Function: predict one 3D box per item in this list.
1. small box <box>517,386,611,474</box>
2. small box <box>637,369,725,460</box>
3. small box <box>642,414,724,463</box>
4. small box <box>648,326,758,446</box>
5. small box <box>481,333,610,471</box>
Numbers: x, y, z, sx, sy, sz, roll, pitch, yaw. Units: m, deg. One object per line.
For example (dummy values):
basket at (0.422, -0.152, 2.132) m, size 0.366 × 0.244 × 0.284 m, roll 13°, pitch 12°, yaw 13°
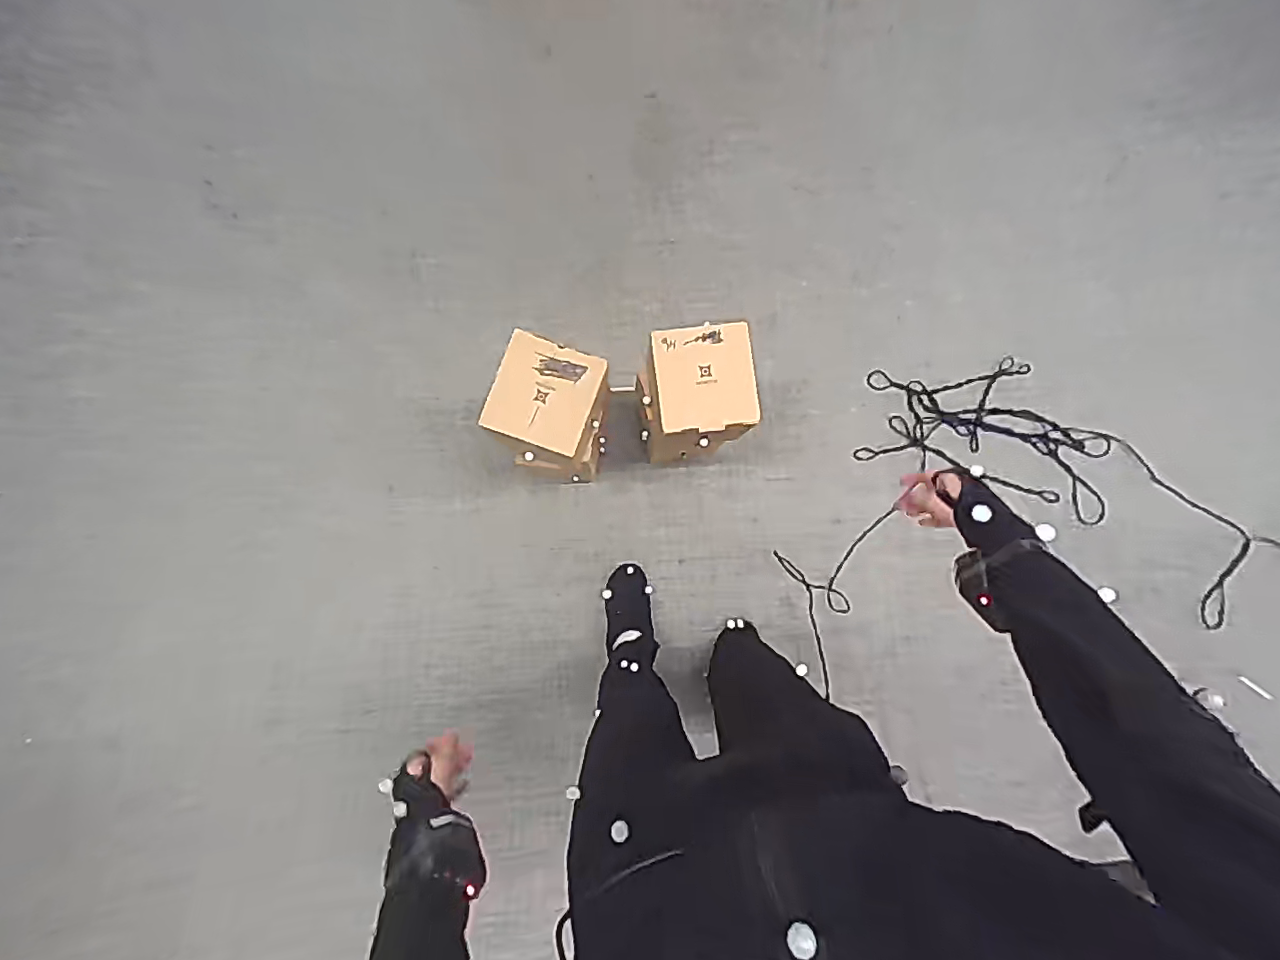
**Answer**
small box at (-0.164, -0.118, 1.128) m, size 0.179 × 0.176 × 0.168 m, roll 15°, pitch 82°, yaw -1°
small box at (0.096, -0.146, 1.137) m, size 0.179 × 0.176 × 0.168 m, roll -14°, pitch 85°, yaw -3°
small box at (0.096, -0.141, 1.301) m, size 0.168 × 0.176 × 0.179 m, roll -10°, pitch 83°, yaw -3°
small box at (0.105, -0.159, 0.975) m, size 0.168 × 0.176 × 0.179 m, roll -6°, pitch 86°, yaw -2°
small box at (-0.160, -0.129, 0.964) m, size 0.168 × 0.176 × 0.179 m, roll 19°, pitch 83°, yaw 0°
